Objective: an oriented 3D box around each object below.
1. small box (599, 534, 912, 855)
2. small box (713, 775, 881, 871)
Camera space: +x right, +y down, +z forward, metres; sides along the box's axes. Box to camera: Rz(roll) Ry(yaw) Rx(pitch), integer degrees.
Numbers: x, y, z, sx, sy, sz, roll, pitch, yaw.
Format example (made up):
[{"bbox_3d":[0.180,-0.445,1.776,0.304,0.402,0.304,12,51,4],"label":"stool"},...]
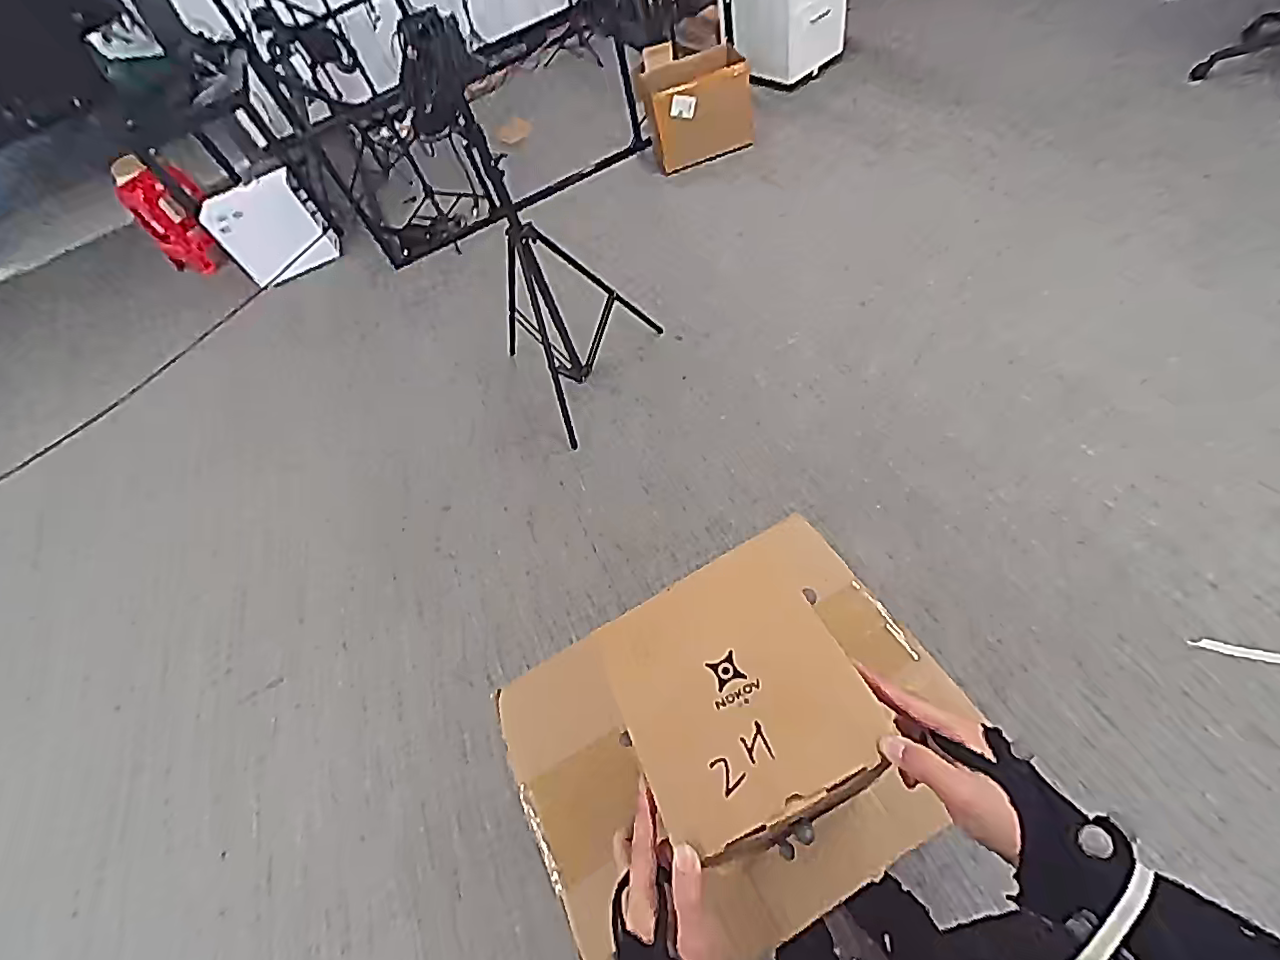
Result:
[{"bbox_3d":[0.088,0.183,0.452,0.168,0.176,0.179,-27,52,-3],"label":"small box"},{"bbox_3d":[0.126,0.281,0.581,0.168,0.176,0.179,-28,53,-5],"label":"small box"}]
